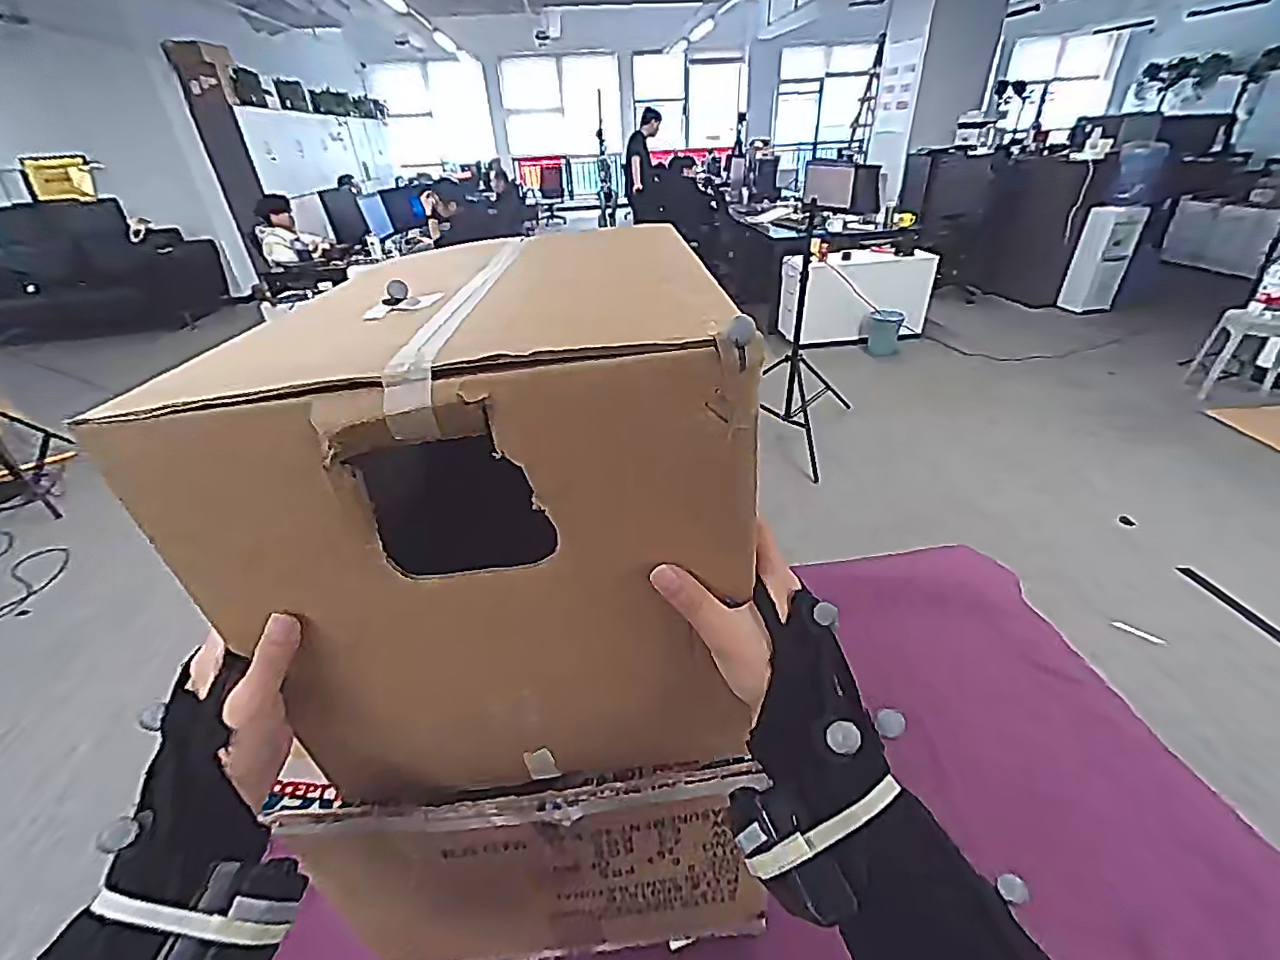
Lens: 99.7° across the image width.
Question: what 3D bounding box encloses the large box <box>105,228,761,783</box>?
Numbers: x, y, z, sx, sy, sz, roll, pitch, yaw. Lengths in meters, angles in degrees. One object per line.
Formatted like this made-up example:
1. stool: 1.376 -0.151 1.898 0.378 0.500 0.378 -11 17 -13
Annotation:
1. large box: -0.094 -0.019 0.490 0.320 0.320 0.408 -8 32 1
